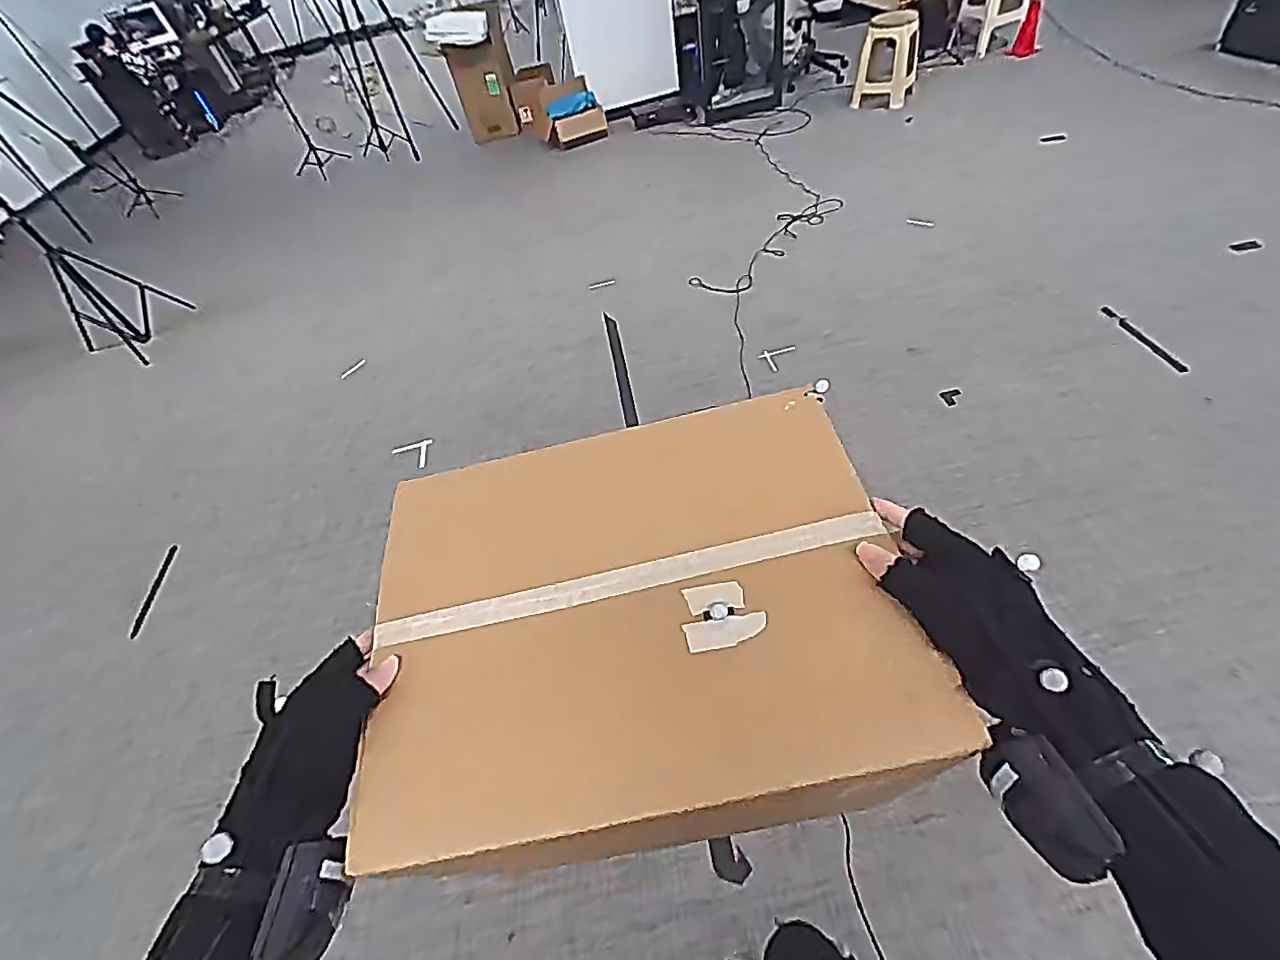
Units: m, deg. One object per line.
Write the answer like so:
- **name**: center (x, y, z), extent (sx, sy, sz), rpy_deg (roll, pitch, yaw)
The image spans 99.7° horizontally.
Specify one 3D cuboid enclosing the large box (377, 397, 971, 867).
- **large box**: center (0.018, 0.170, 0.553), extent (0.408, 0.320, 0.320), rpy_deg (-13, 54, 2)
